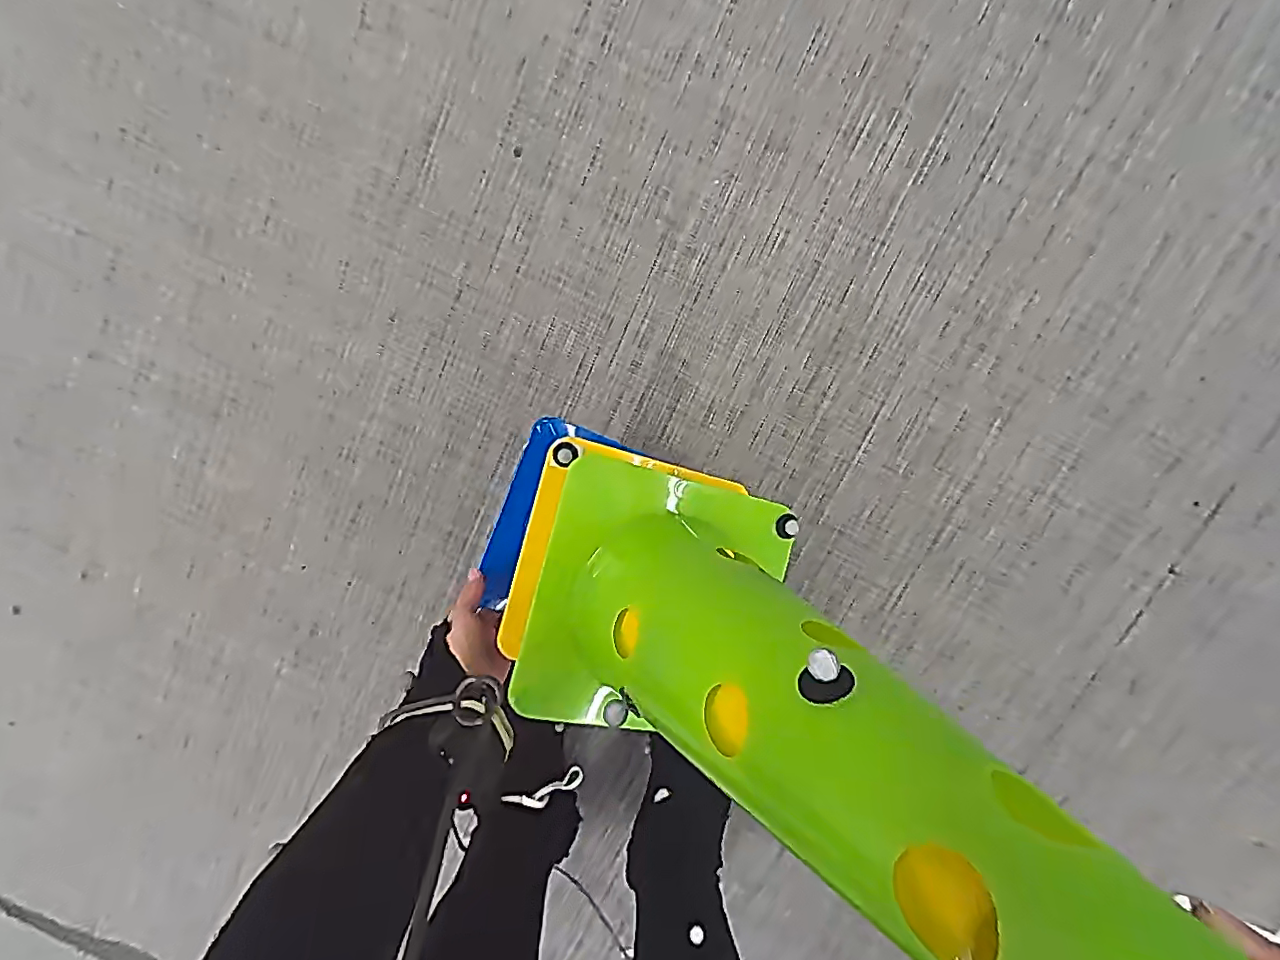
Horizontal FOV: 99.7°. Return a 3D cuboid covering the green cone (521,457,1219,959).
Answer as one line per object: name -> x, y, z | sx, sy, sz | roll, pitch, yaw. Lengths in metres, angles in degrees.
green cone -> 0.077, 0.112, 0.251 | 0.200, 0.368, 0.202 | 14, 91, -18
